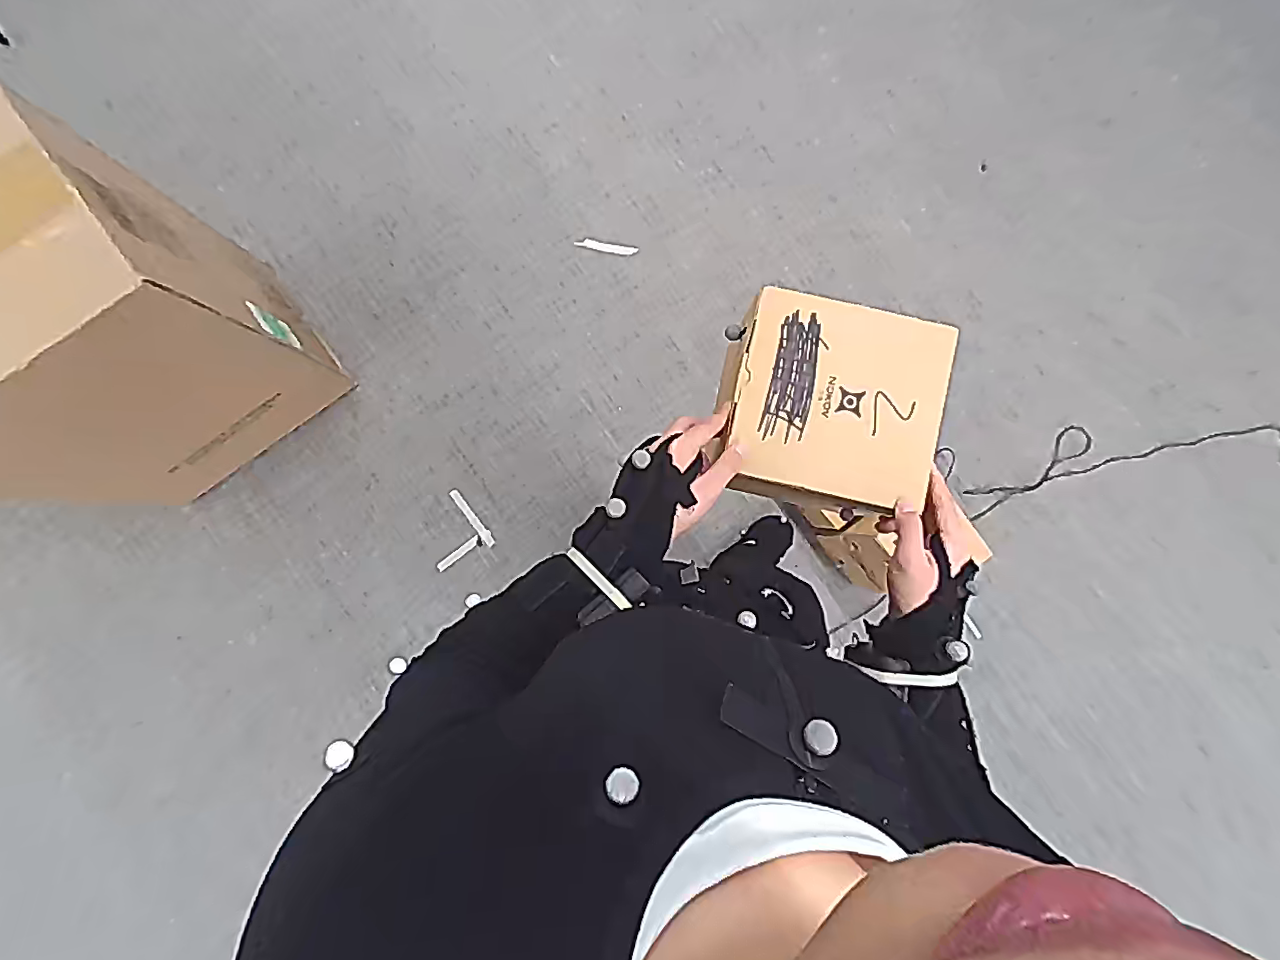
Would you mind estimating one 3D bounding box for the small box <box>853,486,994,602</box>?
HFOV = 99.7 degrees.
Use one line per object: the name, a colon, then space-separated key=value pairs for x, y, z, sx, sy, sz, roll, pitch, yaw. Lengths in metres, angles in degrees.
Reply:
small box: x=0.576 y=0.131 z=1.133 sx=0.179 sy=0.176 sz=0.168 roll=-35 pitch=88 yaw=-3
